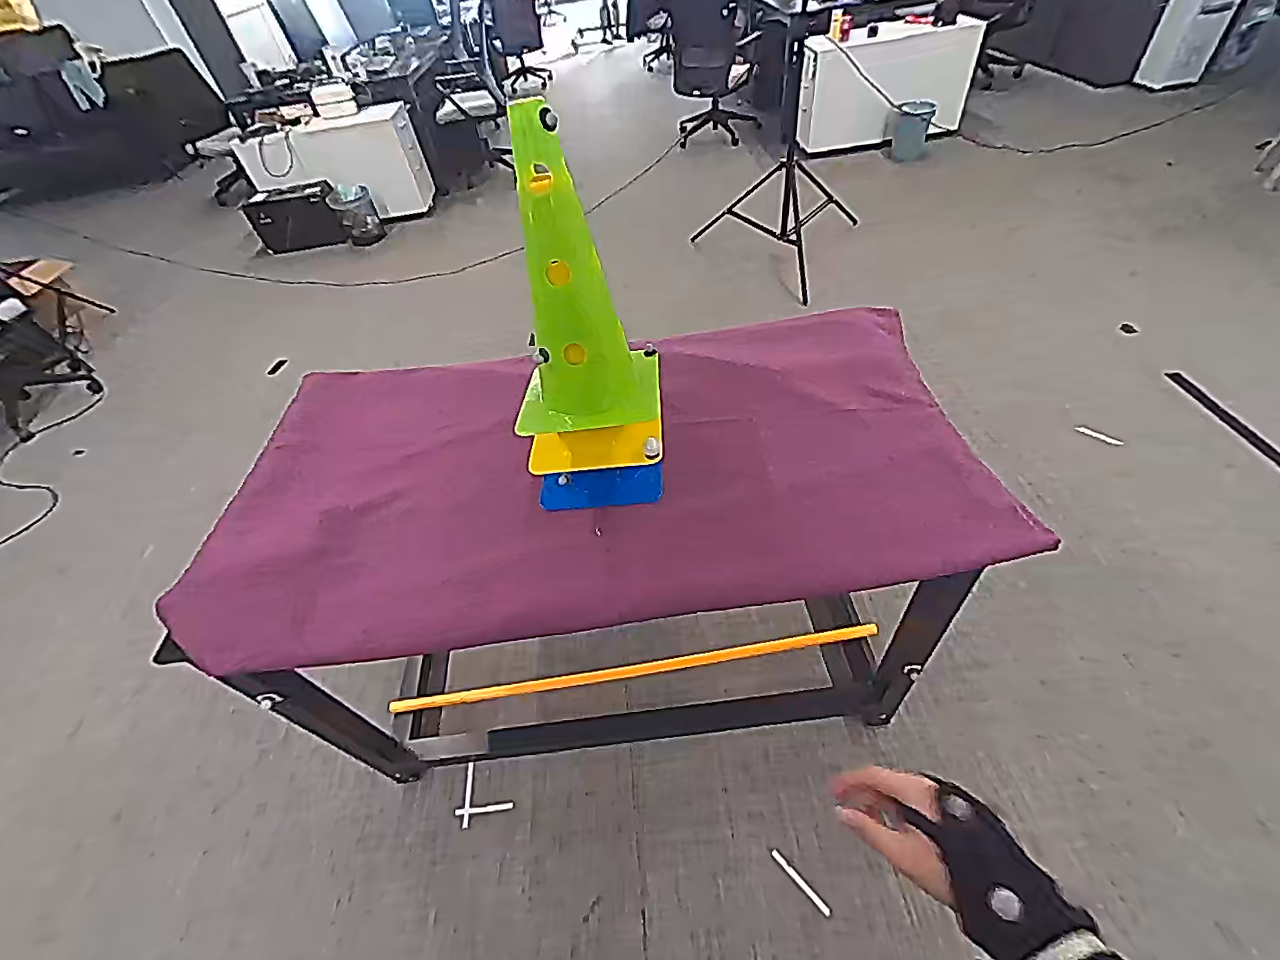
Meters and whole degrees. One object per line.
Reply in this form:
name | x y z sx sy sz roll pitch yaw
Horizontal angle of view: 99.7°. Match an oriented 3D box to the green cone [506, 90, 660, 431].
green cone | -0.097 -0.267 0.680 0.200 0.368 0.202 -7 41 6
